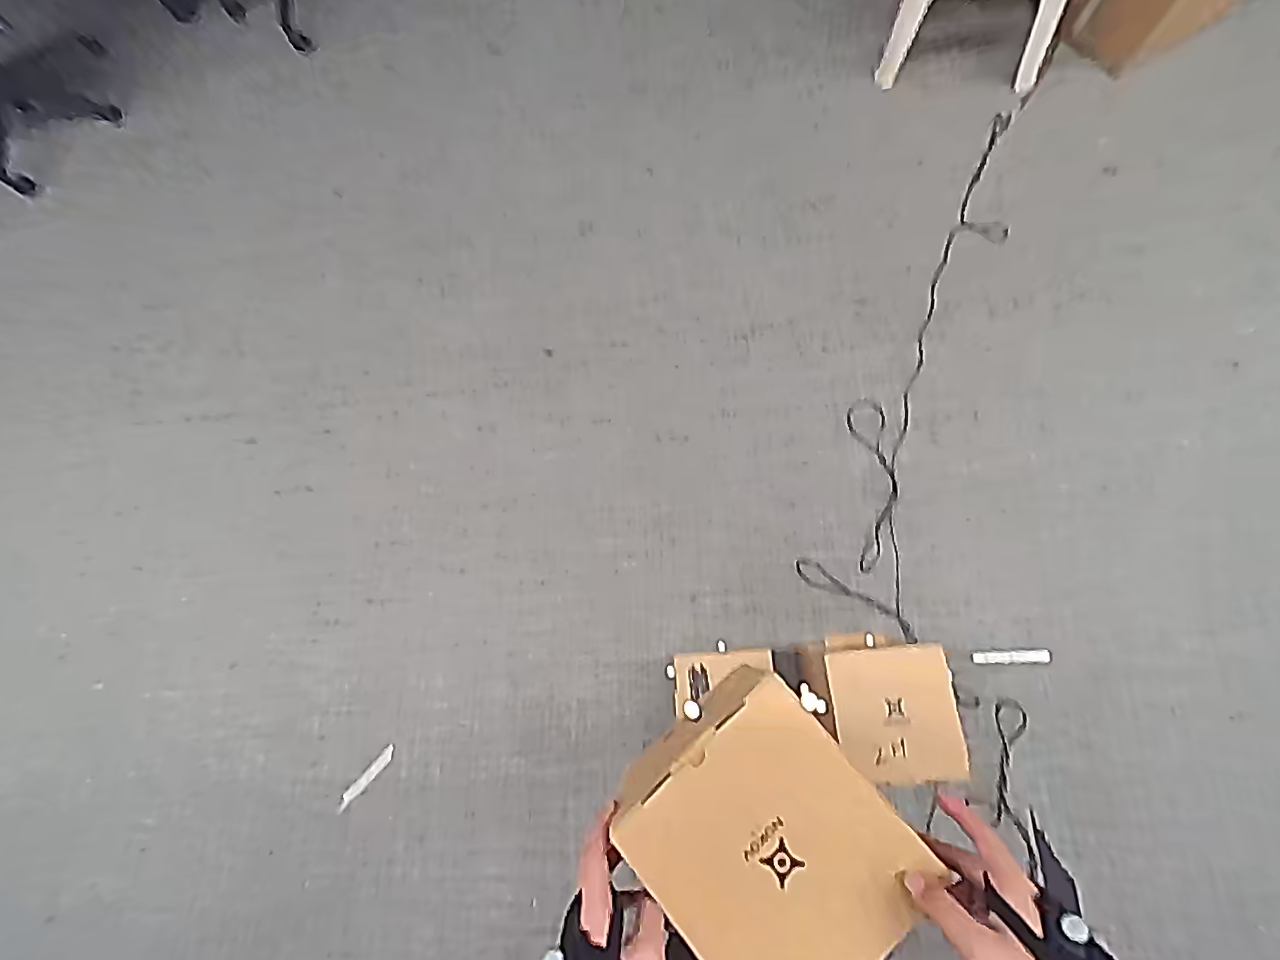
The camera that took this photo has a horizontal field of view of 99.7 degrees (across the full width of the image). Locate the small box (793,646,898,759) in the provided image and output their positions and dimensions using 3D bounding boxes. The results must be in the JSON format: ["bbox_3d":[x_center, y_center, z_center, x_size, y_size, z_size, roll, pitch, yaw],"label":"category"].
[{"bbox_3d":[0.380,0.395,0.984,0.168,0.176,0.179,-5,74,7],"label":"small box"}]

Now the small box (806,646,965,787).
[{"bbox_3d":[0.358,0.350,0.827,0.168,0.176,0.179,-6,74,7],"label":"small box"}]
